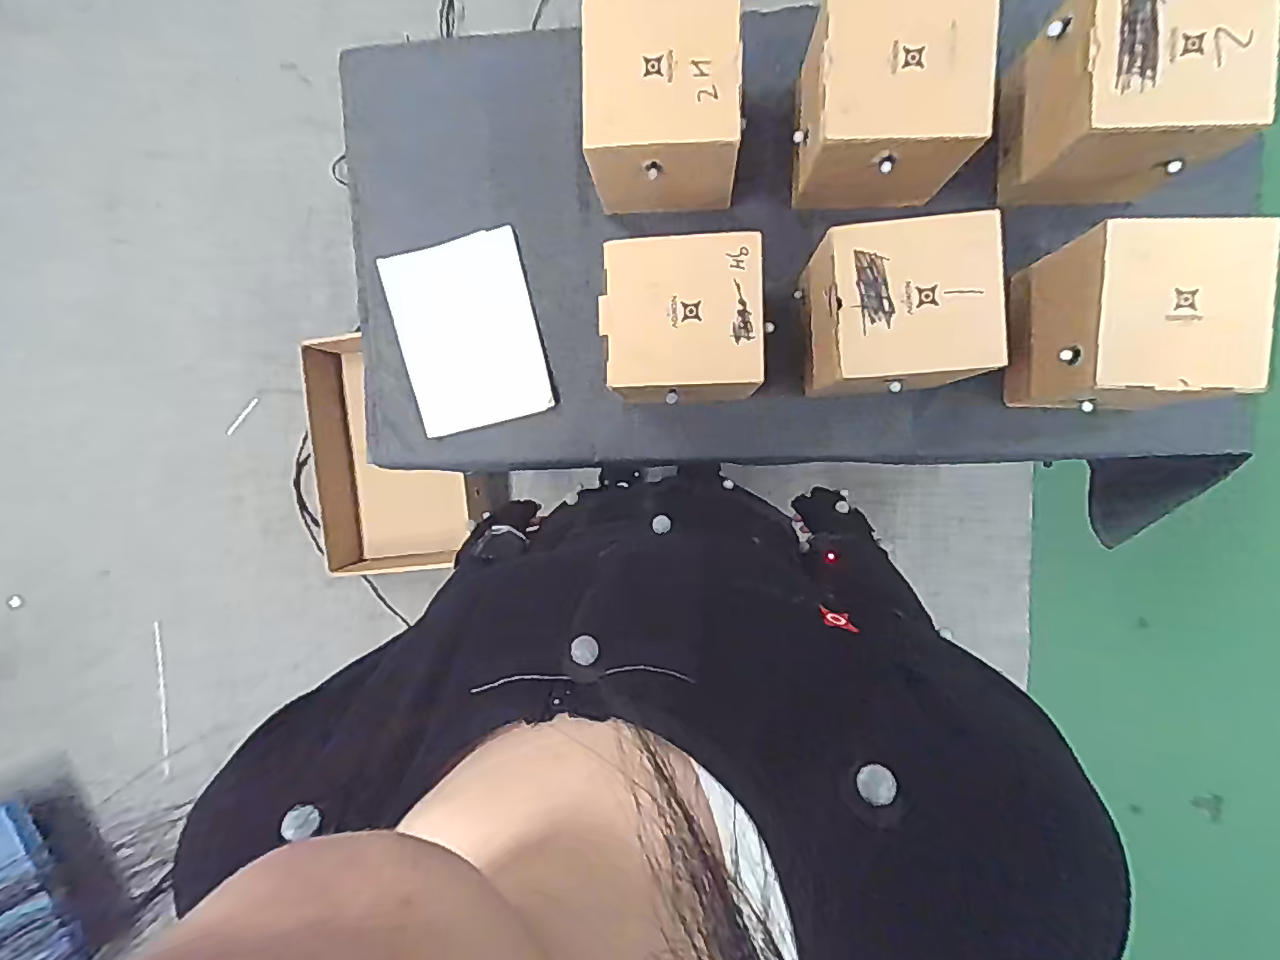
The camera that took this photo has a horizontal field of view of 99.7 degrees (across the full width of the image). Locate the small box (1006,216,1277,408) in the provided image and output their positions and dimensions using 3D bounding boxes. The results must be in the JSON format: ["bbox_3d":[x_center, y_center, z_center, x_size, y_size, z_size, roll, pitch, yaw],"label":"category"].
[{"bbox_3d":[0.561,-0.183,0.630,0.168,0.176,0.179,2,92,5],"label":"small box"}]

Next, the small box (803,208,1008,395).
[{"bbox_3d":[0.299,-0.198,0.648,0.179,0.176,0.168,-4,92,4],"label":"small box"}]
